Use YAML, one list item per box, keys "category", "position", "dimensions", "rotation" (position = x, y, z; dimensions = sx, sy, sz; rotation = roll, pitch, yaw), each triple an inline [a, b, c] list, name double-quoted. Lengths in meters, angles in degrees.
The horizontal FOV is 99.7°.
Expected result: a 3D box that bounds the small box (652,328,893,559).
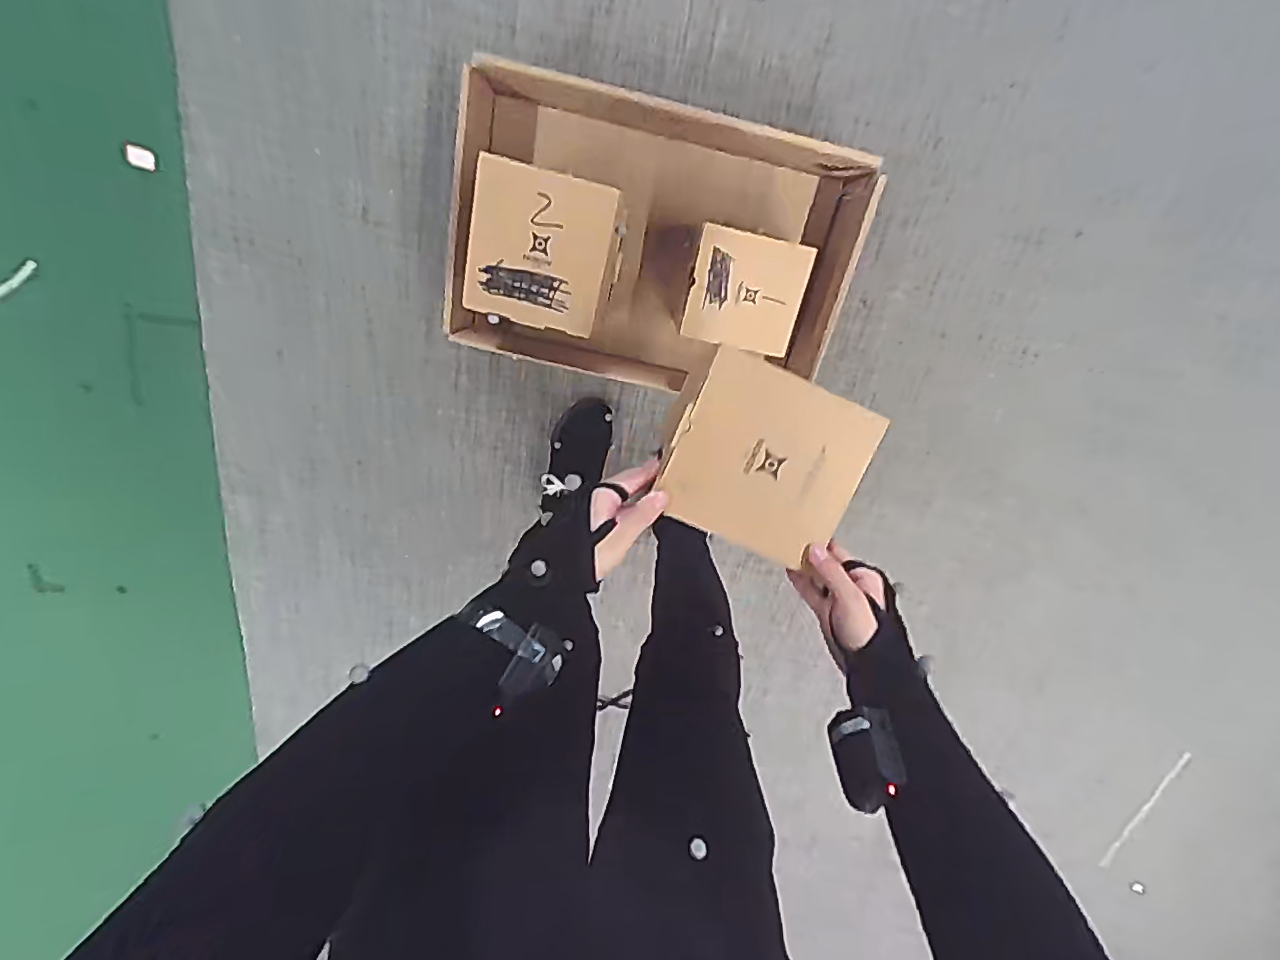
- category: "small box"
  position: [0.120, -0.042, 0.576]
  dimensions: [0.179, 0.176, 0.168]
  rotation: [23, 99, -5]
